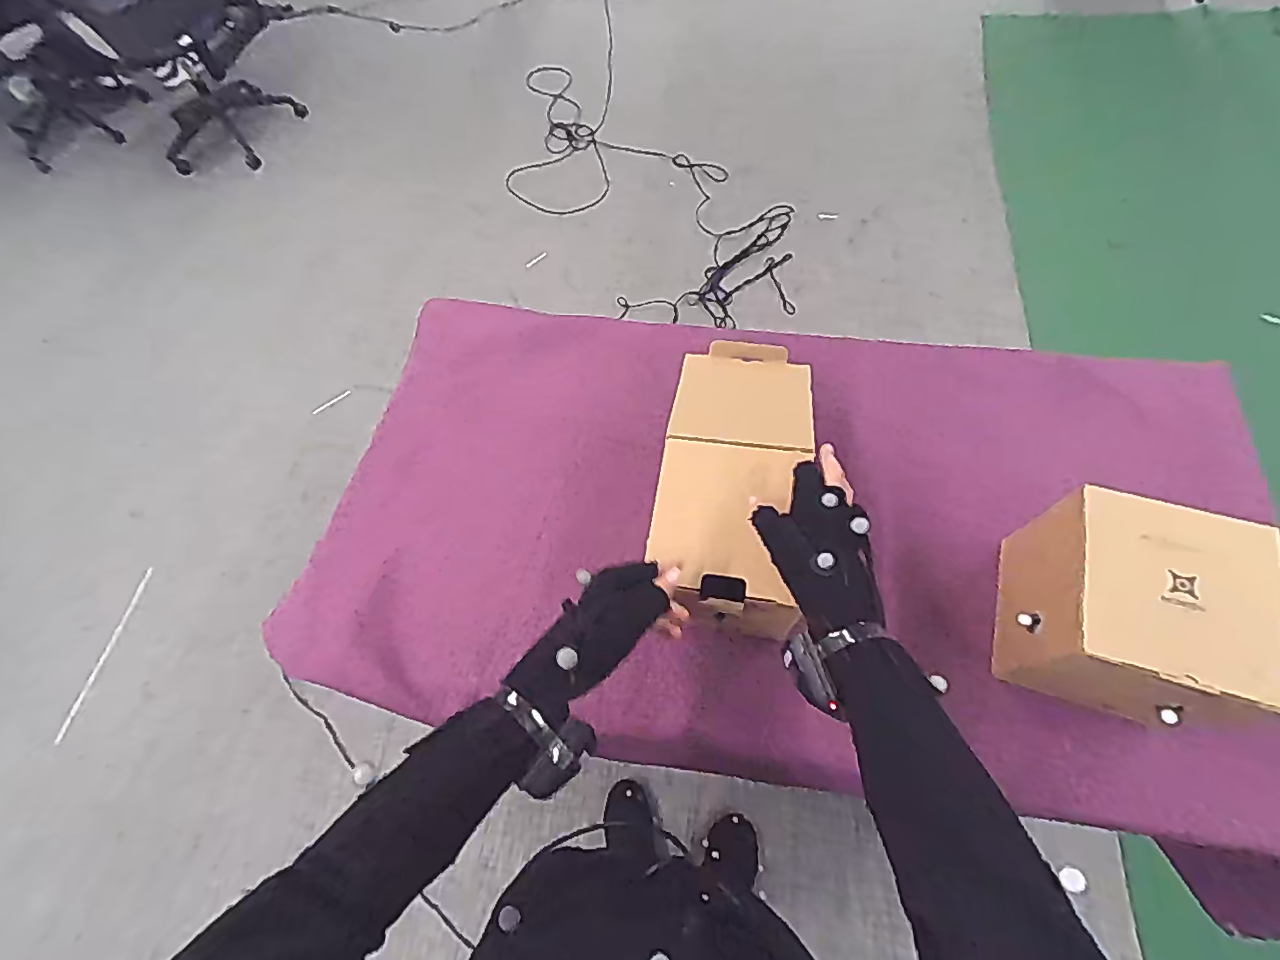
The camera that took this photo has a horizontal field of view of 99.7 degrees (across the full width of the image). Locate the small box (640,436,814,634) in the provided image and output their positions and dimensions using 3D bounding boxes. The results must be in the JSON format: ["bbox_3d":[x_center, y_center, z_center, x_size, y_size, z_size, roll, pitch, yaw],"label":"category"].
[{"bbox_3d":[0.102,0.071,0.634,0.168,0.176,0.179,7,64,9],"label":"small box"}]

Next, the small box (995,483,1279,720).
[{"bbox_3d":[0.498,0.133,0.560,0.168,0.176,0.179,16,66,13],"label":"small box"}]
